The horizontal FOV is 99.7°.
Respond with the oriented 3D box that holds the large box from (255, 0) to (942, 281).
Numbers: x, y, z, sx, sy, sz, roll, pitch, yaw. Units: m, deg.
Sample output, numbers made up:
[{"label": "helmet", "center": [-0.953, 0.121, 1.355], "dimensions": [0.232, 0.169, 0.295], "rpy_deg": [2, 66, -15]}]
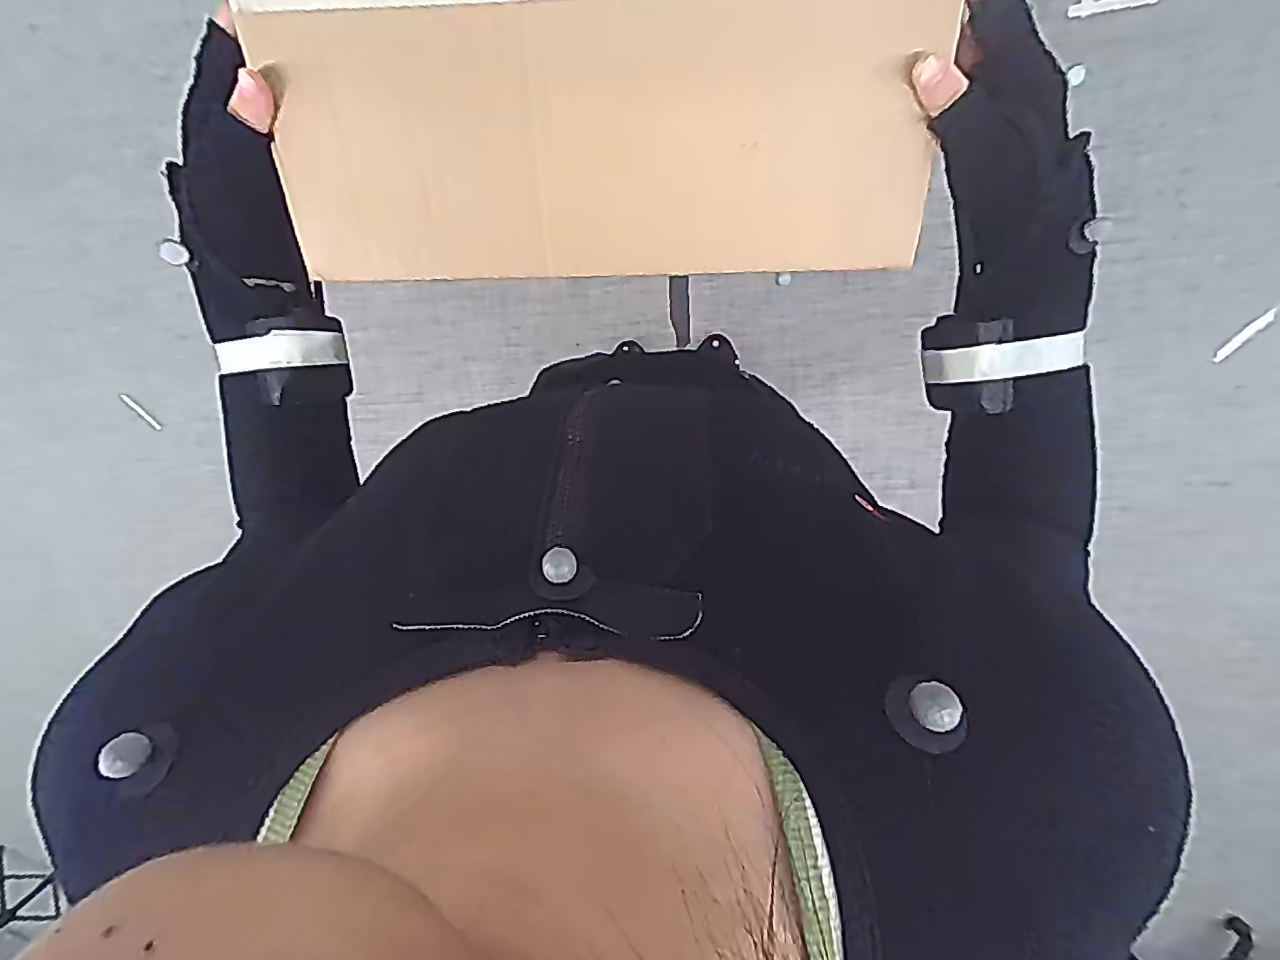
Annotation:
[{"label": "large box", "center": [-0.019, -0.352, 0.436], "dimensions": [0.408, 0.320, 0.320], "rpy_deg": [0, 117, 3]}]
